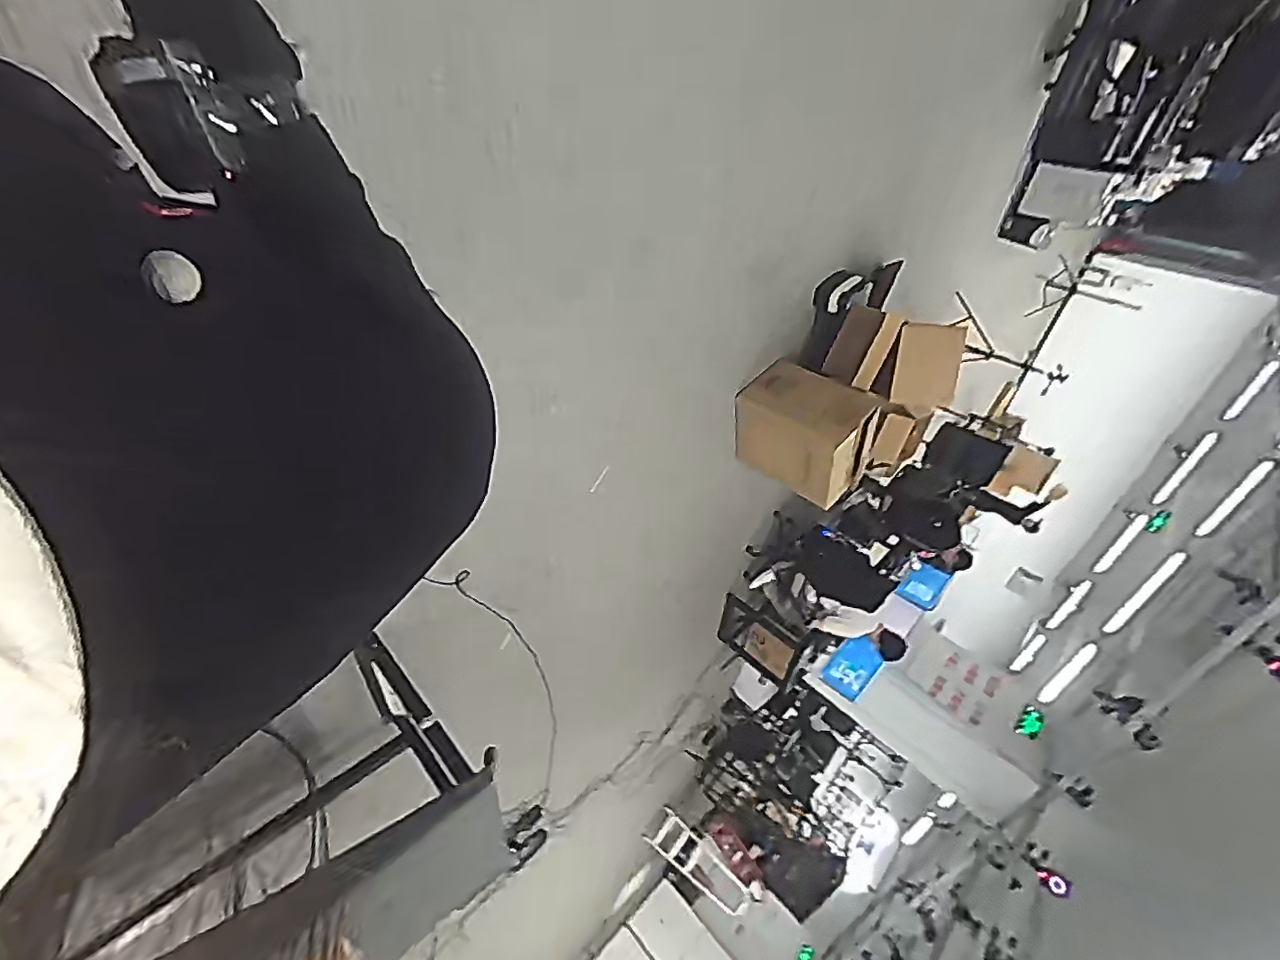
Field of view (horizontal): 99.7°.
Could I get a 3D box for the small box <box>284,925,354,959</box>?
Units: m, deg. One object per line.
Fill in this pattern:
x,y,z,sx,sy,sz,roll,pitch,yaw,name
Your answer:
-0.781,1.226,1.287,0.179,0.176,0.168,-29,140,-33,small box
